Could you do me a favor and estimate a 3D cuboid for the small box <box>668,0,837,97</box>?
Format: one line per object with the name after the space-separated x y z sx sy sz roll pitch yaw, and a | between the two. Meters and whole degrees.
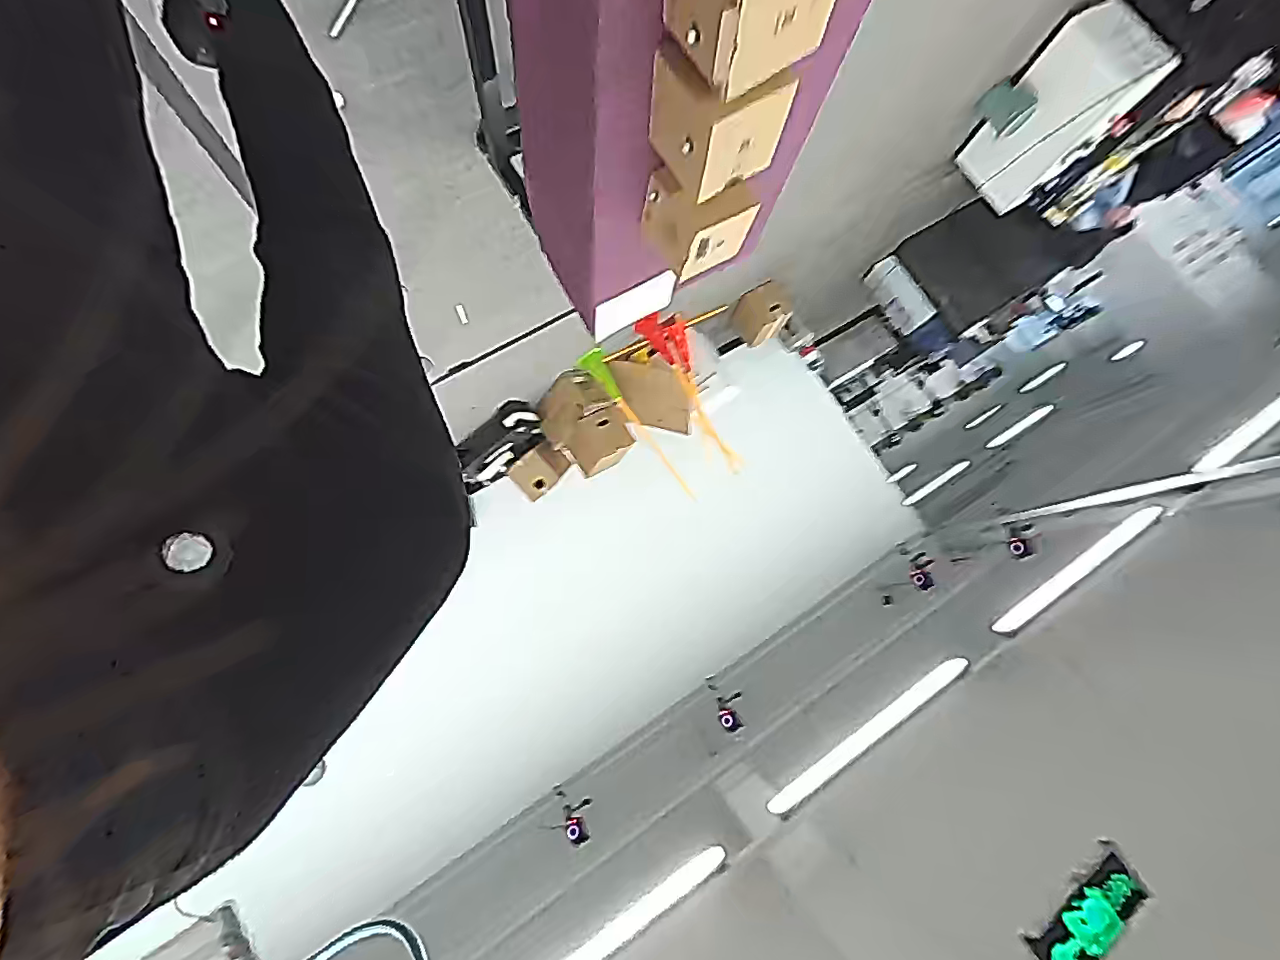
0.151 -0.679 0.721 0.179 0.176 0.168 -33 172 -4 | small box

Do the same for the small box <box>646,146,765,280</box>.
0.134 -0.582 1.184 0.179 0.176 0.168 -31 171 -15 | small box
